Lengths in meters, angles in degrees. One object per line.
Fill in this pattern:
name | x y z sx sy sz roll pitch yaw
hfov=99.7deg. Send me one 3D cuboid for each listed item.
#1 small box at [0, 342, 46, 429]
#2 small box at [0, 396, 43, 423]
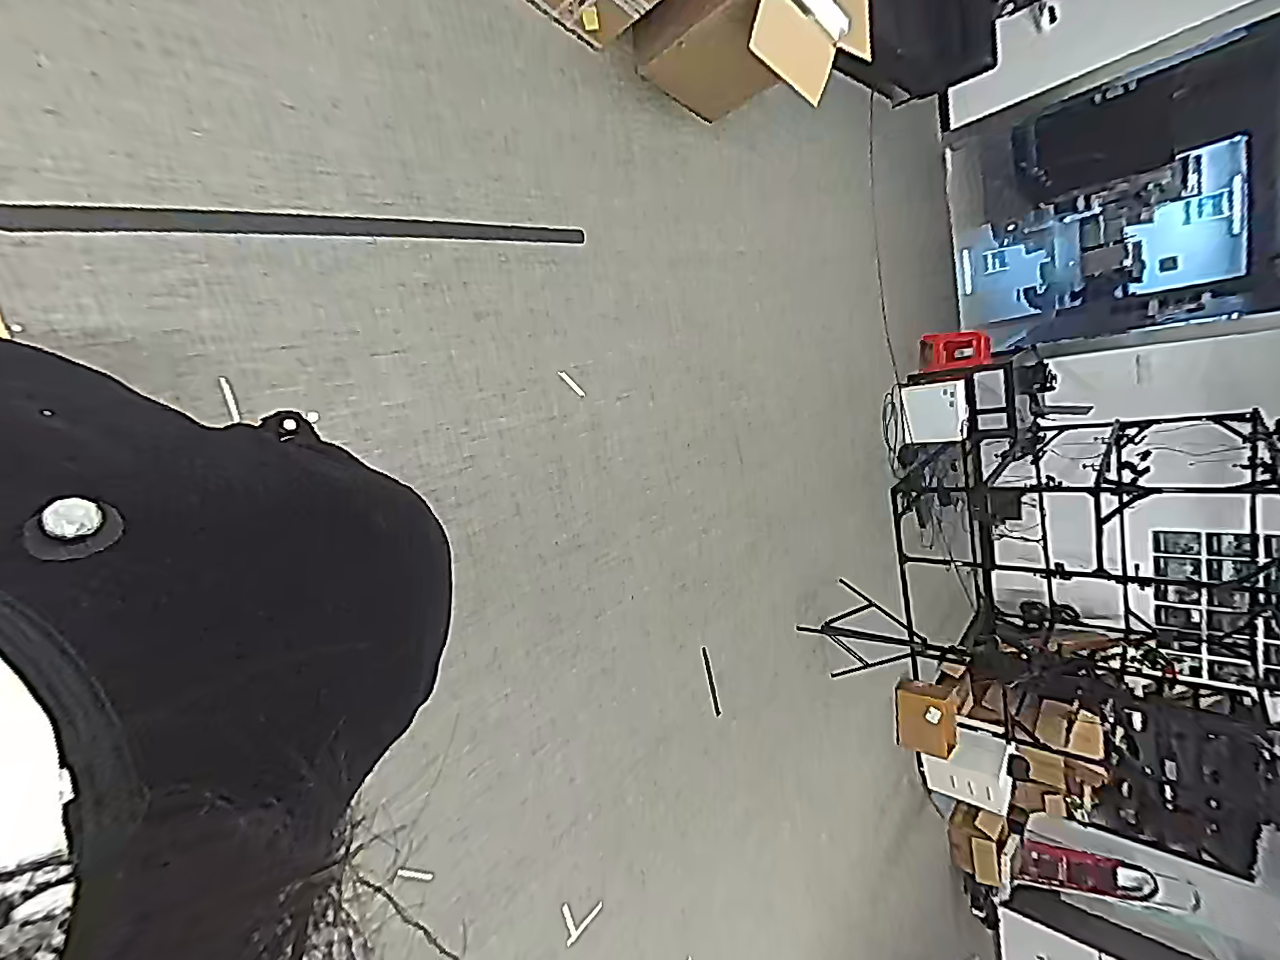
small box | -1.158 -0.171 0.915 0.179 0.176 0.168 -23 104 -42
small box | -1.040 -0.174 0.801 0.168 0.176 0.179 -25 105 -43
